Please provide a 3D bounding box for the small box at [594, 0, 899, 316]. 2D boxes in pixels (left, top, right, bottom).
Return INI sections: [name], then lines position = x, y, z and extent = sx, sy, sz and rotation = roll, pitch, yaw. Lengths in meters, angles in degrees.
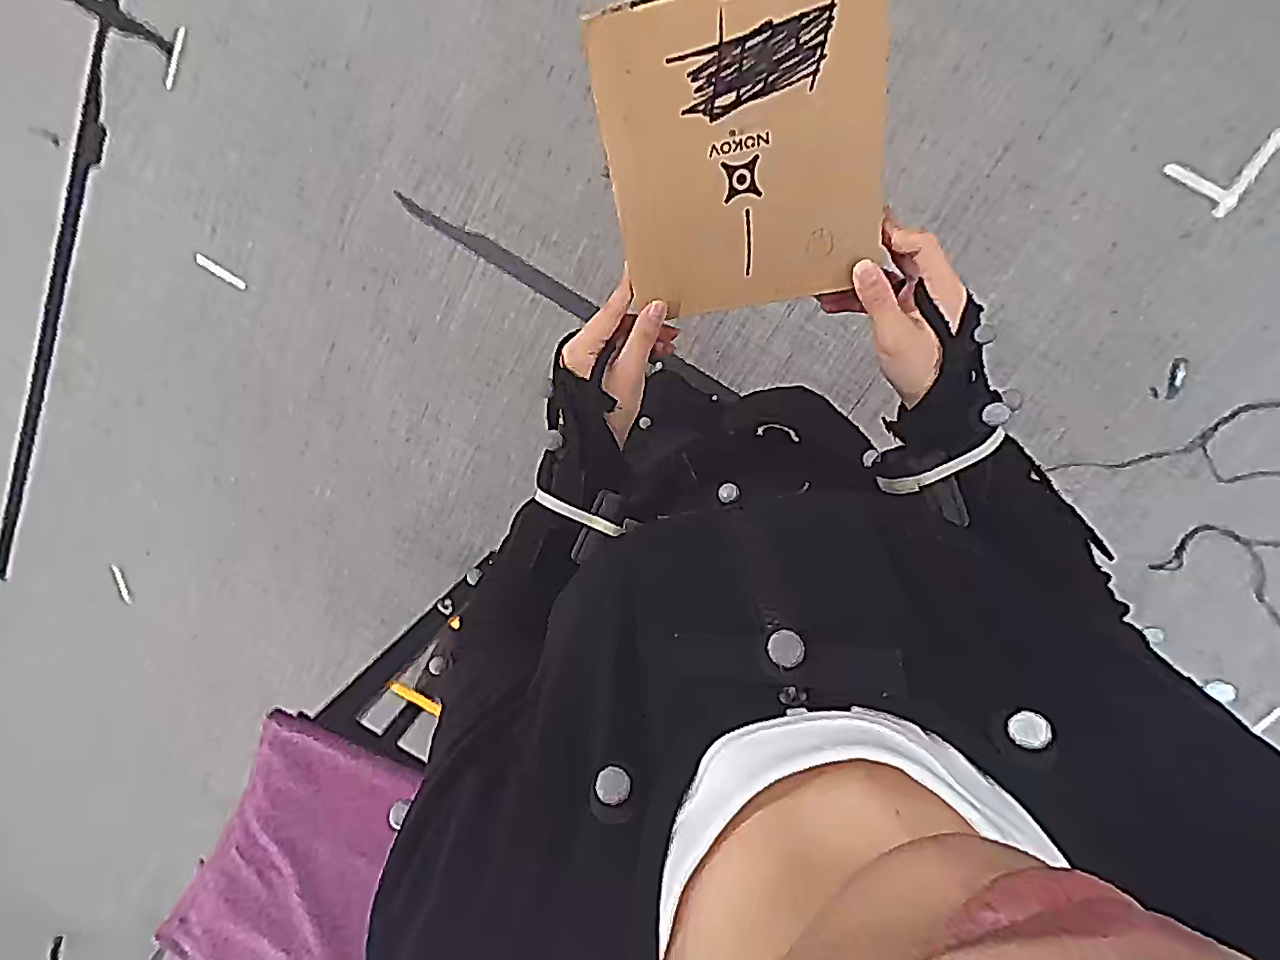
[small box]
position = 0.074, -0.239, 0.394
extent = 0.168, 0.176, 0.179
rotation = -6, 122, 11
